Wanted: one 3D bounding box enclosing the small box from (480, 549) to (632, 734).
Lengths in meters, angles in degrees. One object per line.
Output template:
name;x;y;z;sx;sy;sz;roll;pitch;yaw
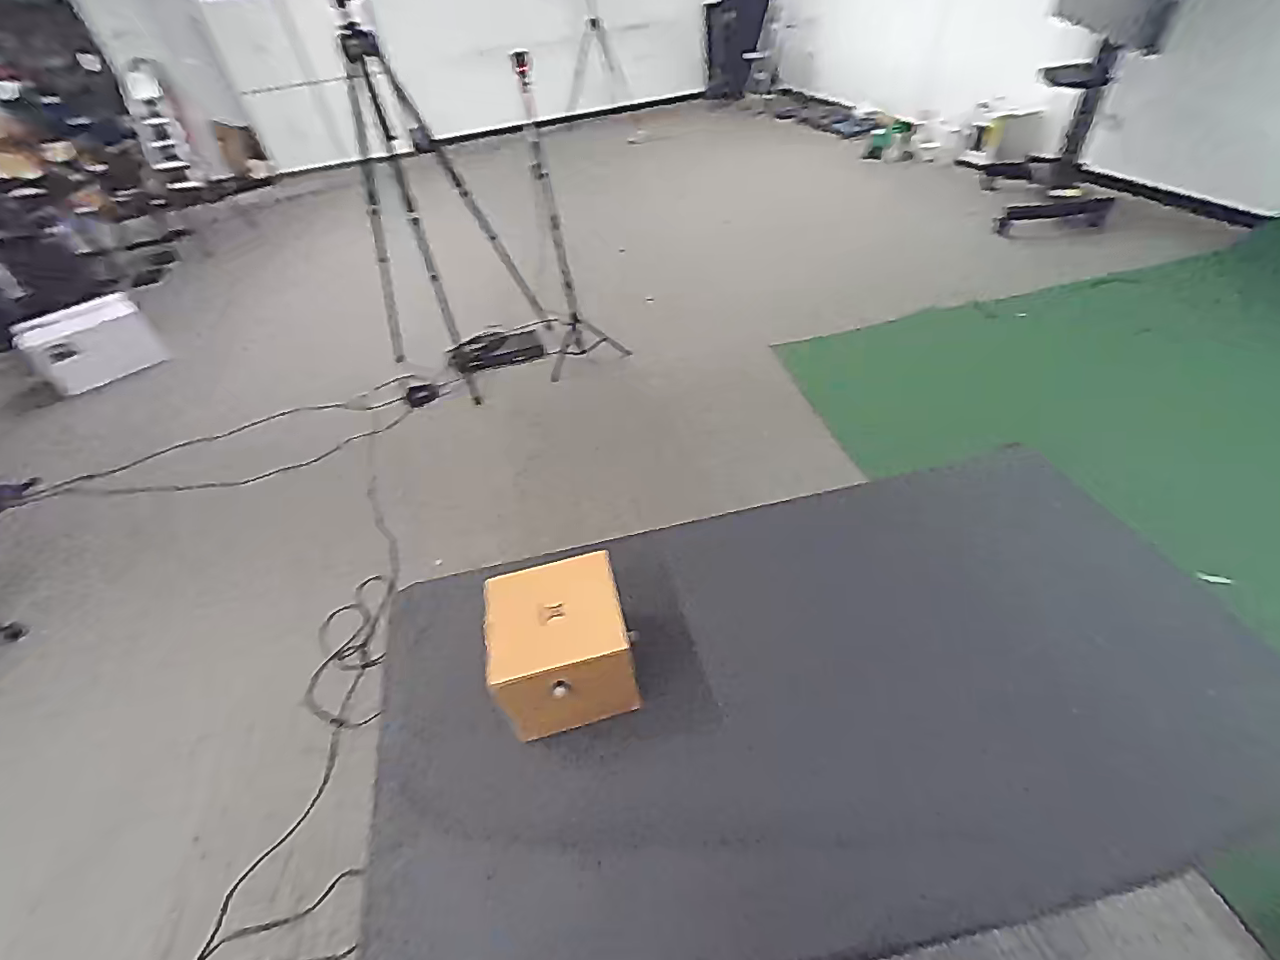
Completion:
small box;-0.114;0.229;0.764;0.179;0.176;0.168;-15;44;-5
